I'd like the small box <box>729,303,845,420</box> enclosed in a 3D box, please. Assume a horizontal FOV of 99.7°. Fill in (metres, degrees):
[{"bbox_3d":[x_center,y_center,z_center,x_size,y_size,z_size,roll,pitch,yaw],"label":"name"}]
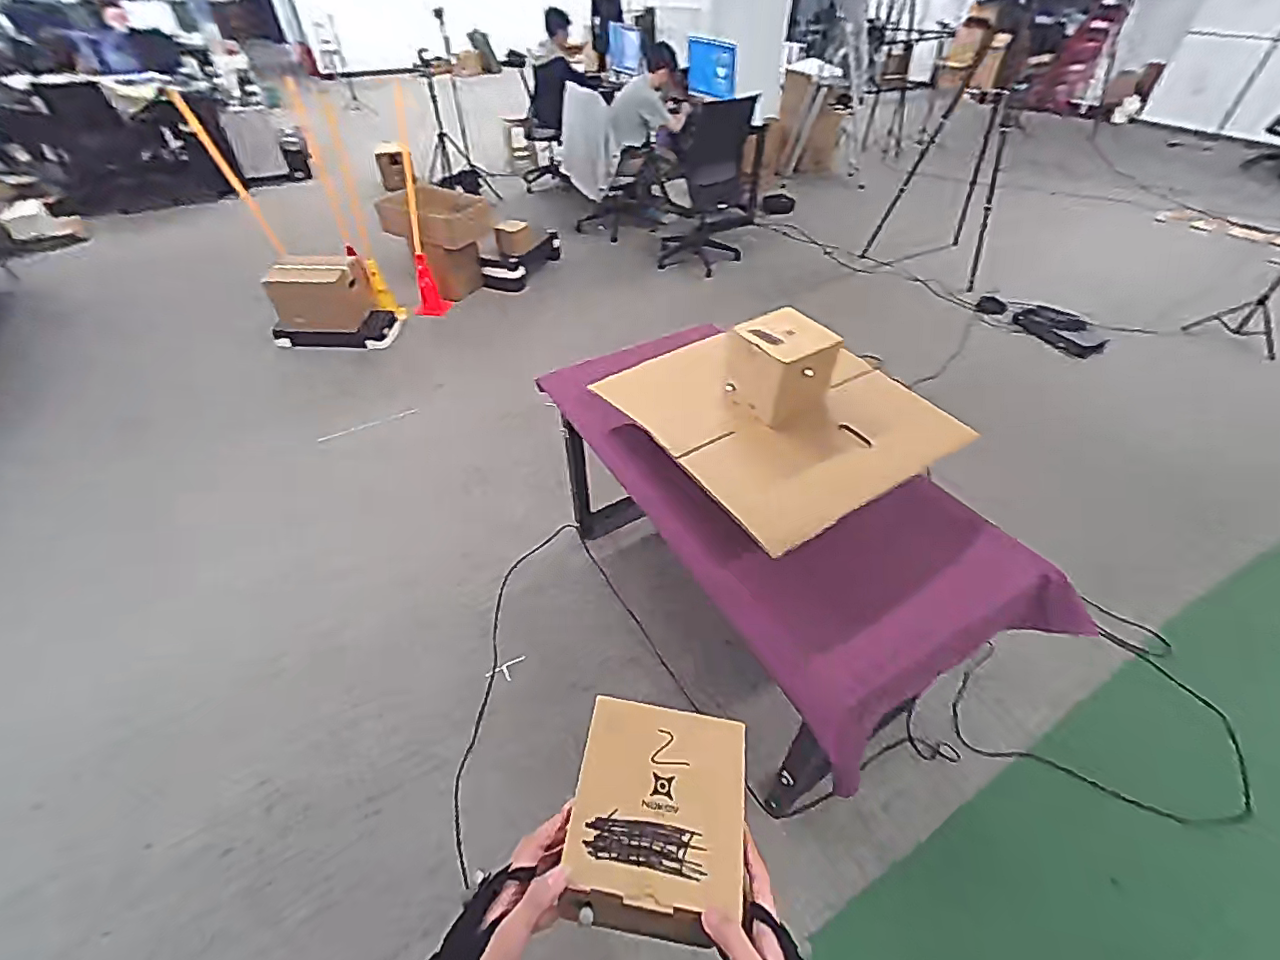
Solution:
[{"bbox_3d":[0.313,-0.259,1.192,0.179,0.176,0.168,-25,52,-23],"label":"small box"}]
